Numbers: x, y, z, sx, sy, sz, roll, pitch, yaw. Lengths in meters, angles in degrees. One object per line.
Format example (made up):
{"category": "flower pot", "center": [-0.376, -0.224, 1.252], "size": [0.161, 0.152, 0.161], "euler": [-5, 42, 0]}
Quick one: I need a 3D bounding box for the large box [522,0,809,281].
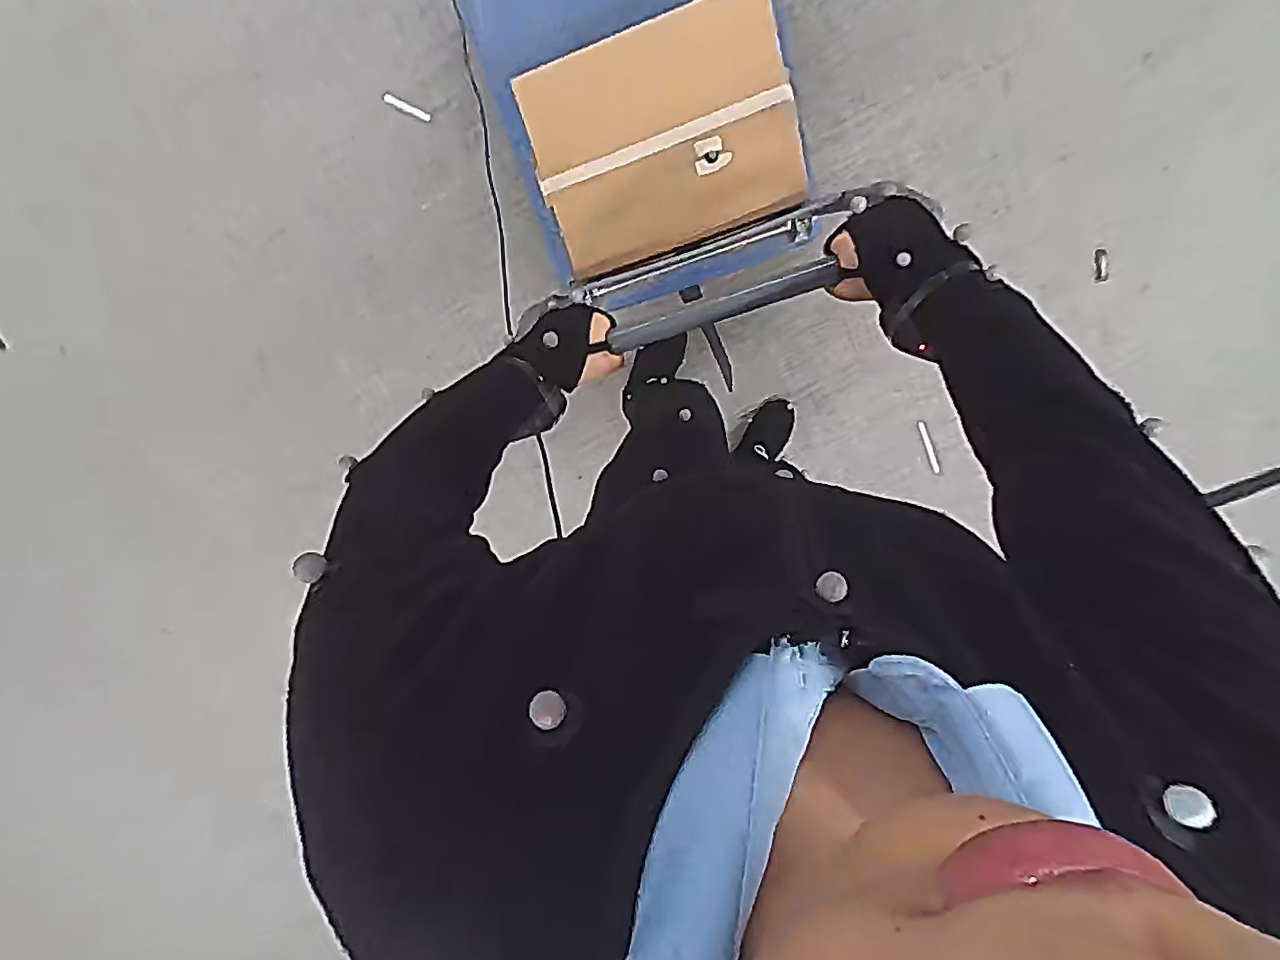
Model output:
{"category": "large box", "center": [0.051, -0.594, 1.010], "size": [0.408, 0.320, 0.320], "euler": [-17, 109, 9]}
